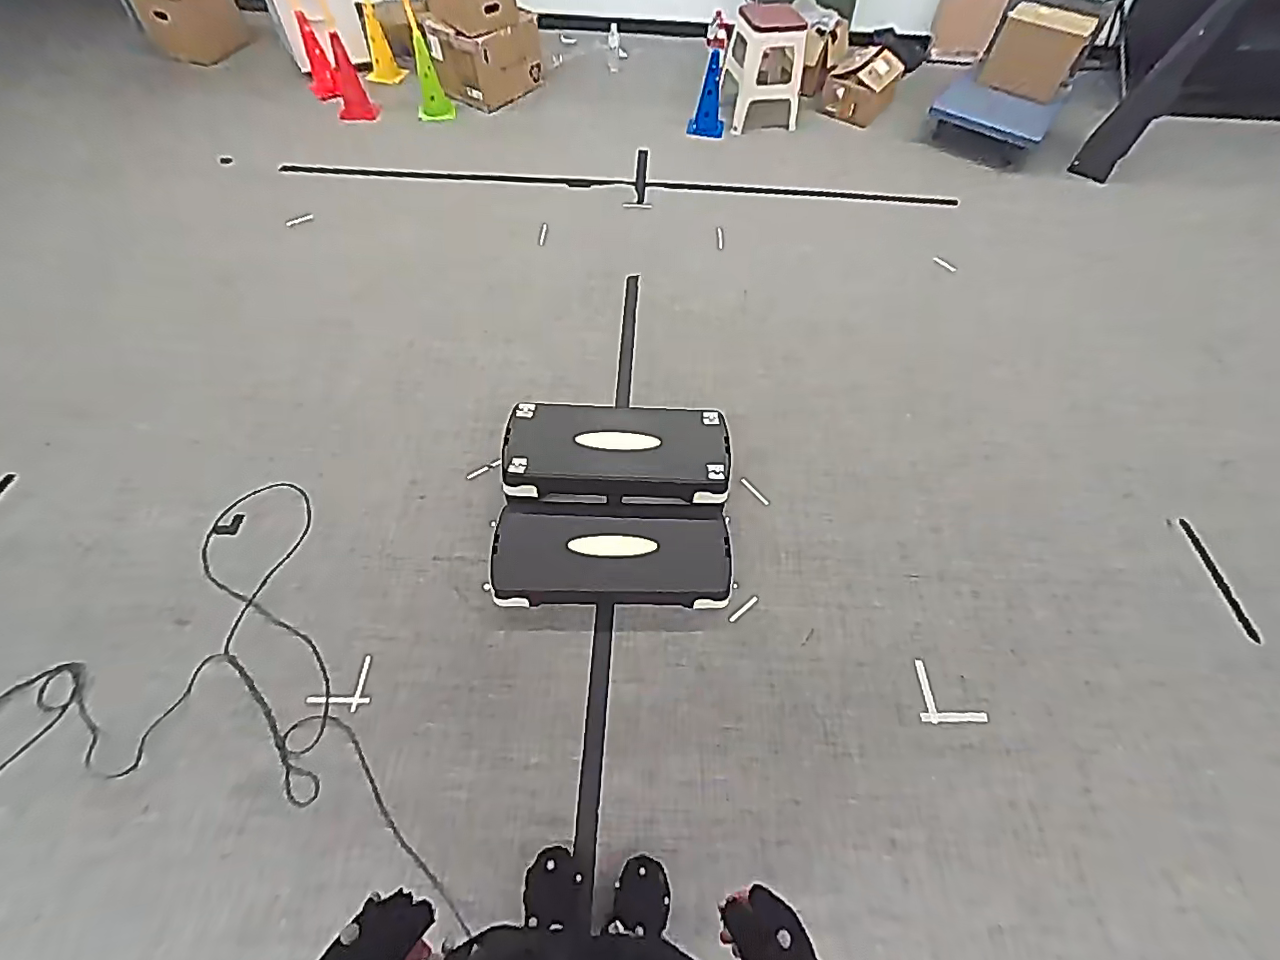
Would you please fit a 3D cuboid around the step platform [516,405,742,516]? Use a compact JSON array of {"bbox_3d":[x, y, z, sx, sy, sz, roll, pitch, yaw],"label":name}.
[{"bbox_3d":[-0.033,-0.063,1.669,0.684,0.204,0.286,2,57,-3],"label":"step platform"}]
